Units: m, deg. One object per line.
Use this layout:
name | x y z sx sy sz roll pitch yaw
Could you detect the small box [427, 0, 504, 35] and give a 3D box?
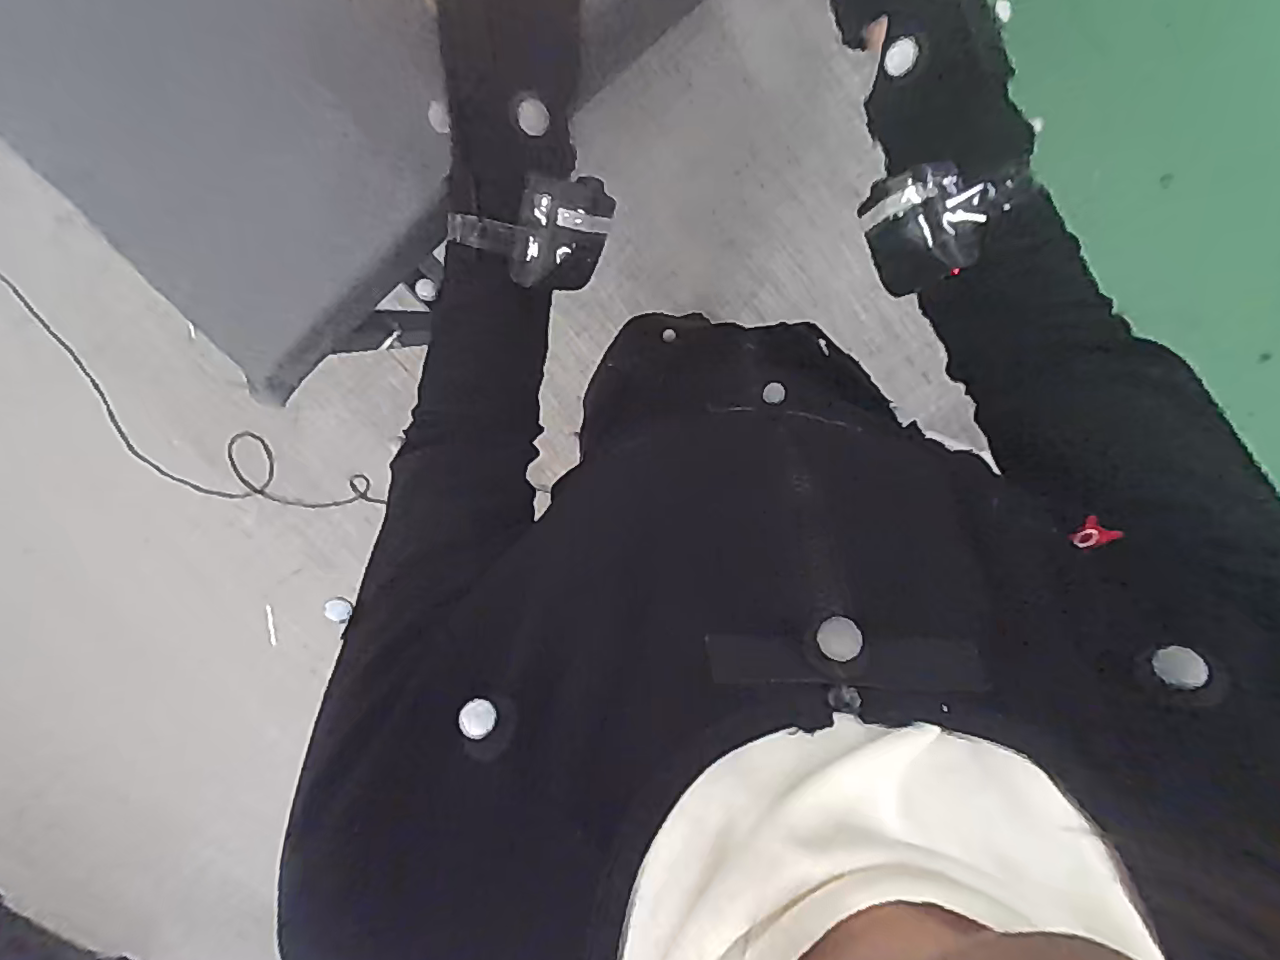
small box | -0.173 -0.546 0.459 0.179 0.176 0.168 -36 100 13
